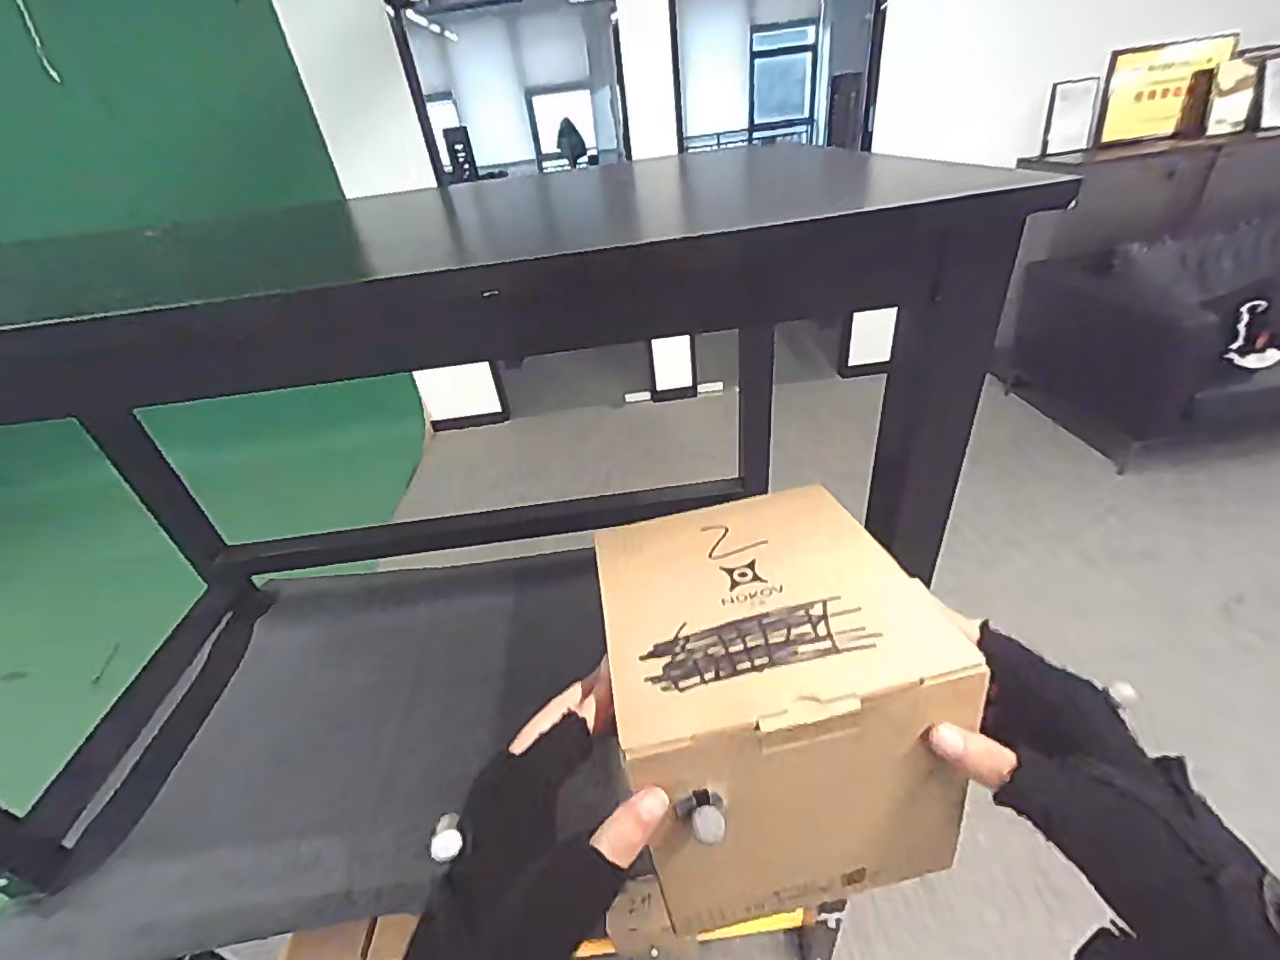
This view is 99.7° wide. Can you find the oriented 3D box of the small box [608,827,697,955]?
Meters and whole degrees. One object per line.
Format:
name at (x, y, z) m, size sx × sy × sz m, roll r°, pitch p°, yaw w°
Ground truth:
small box at (0.029, 0.863, 1.138) m, size 0.168 × 0.176 × 0.179 m, roll -5°, pitch 36°, yaw 5°
